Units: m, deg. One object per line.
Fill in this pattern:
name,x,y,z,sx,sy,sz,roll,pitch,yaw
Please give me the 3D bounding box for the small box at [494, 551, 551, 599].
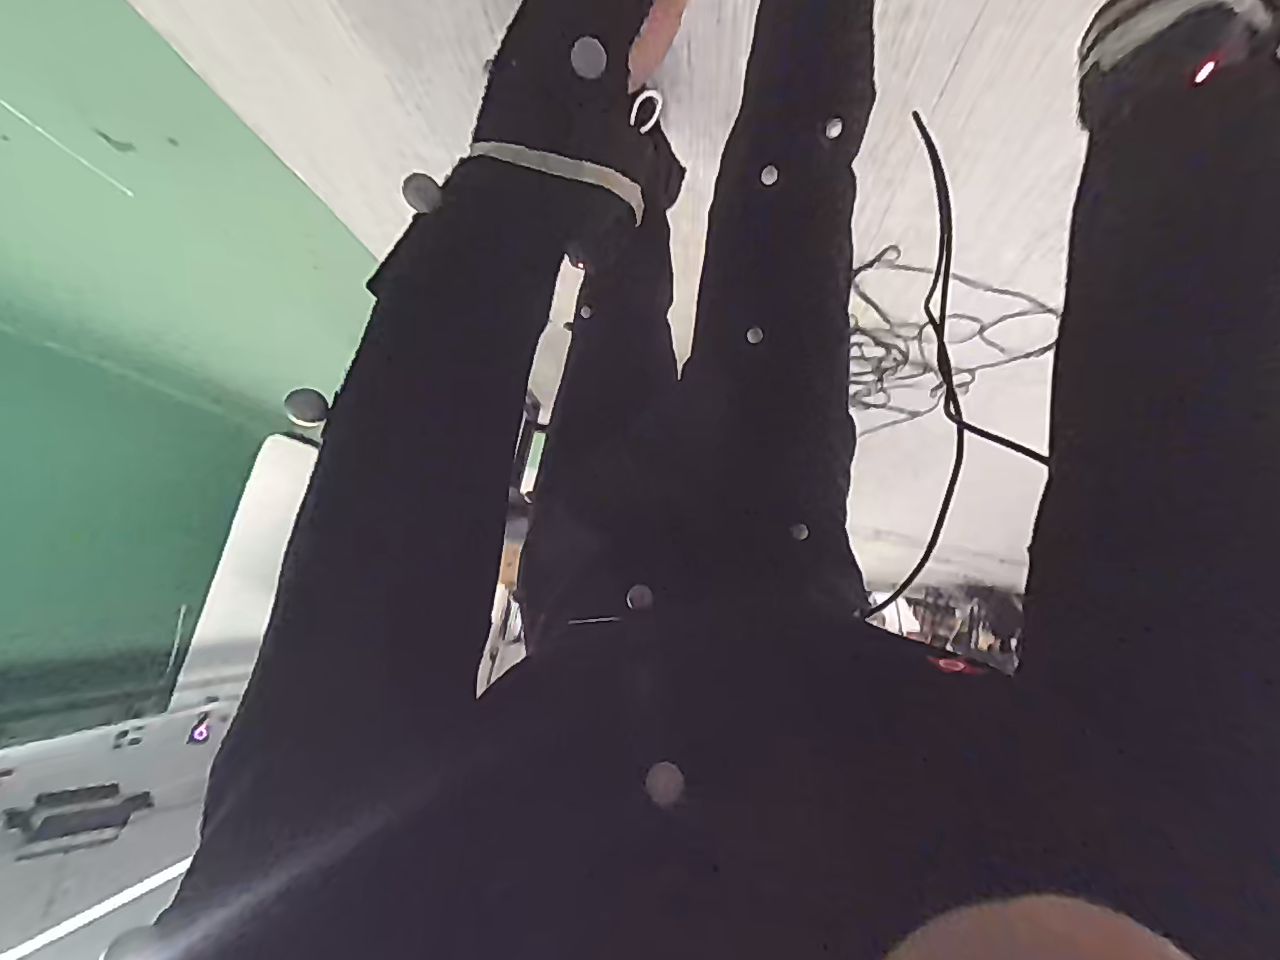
small box,-0.494,0.401,2.288,0.168,0.176,0.179,11,170,10
